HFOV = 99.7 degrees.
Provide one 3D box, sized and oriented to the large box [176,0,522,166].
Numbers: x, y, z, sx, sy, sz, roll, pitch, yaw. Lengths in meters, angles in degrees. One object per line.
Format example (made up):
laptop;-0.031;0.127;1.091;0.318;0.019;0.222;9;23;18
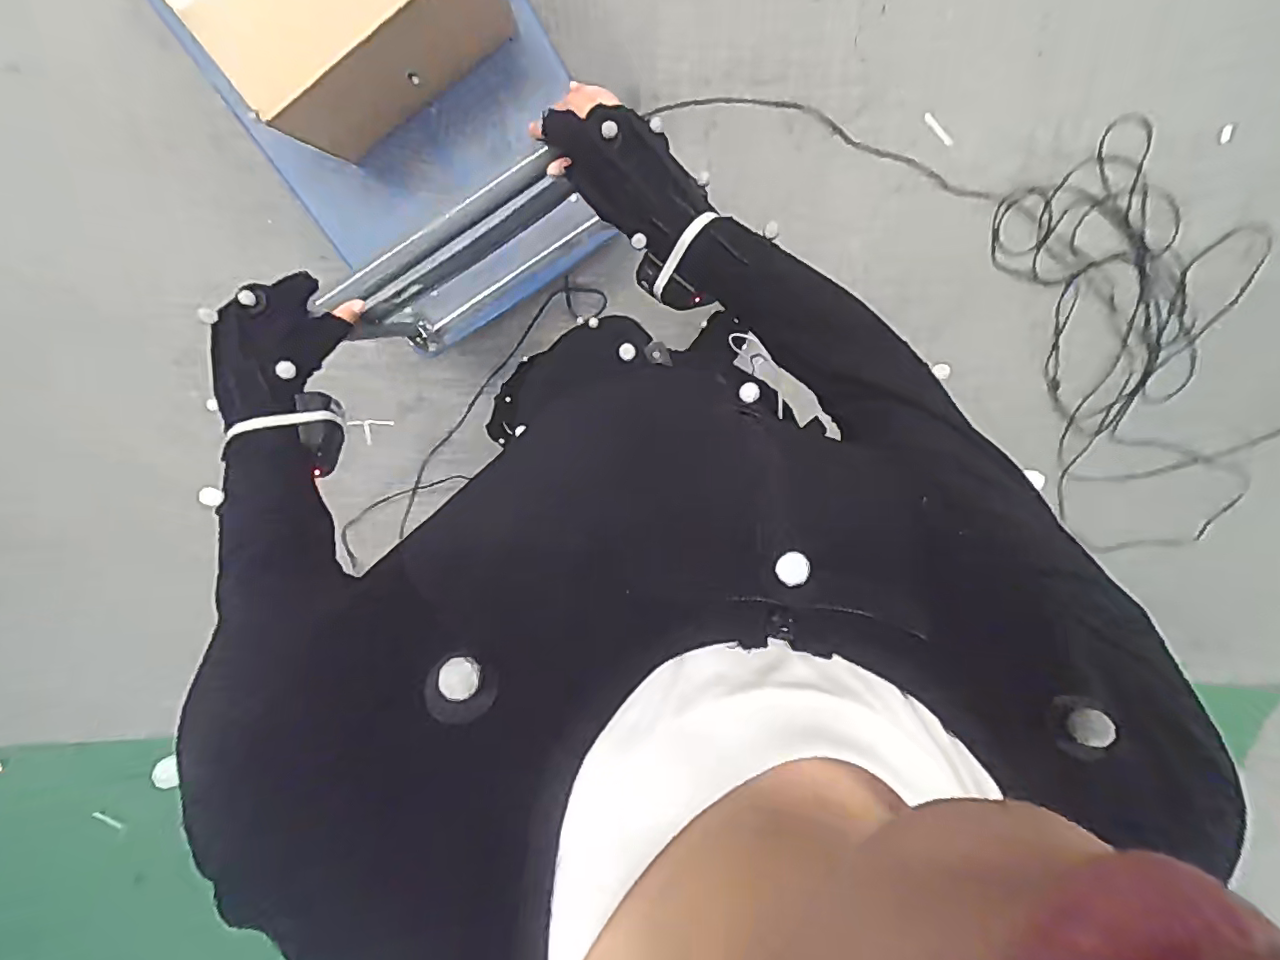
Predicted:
large box;-0.449;-0.781;0.845;0.408;0.320;0.320;-34;109;9
